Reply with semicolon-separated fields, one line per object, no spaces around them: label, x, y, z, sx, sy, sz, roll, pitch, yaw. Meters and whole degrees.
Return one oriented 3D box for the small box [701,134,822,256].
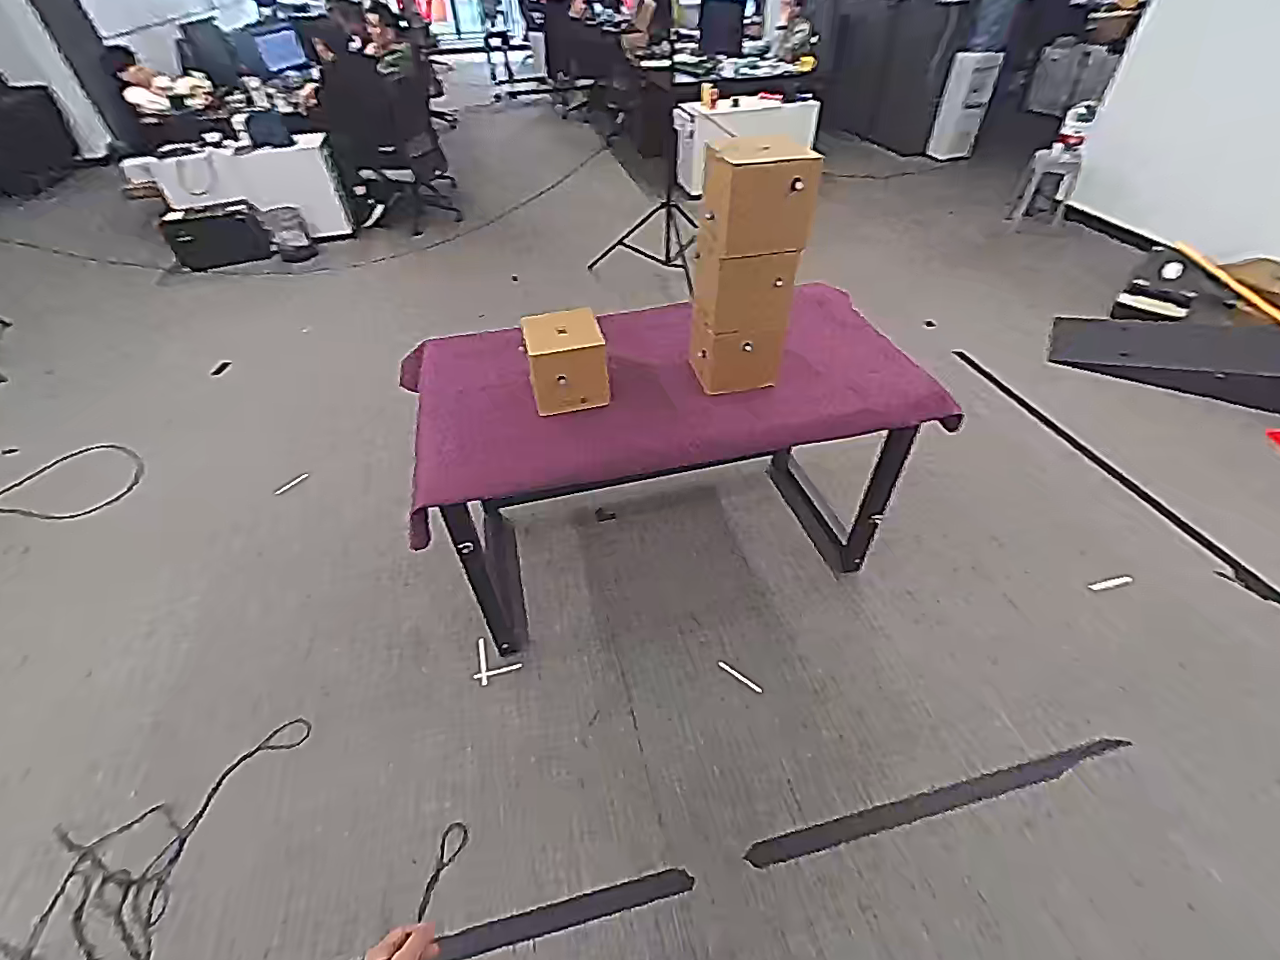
small box;0.228;-0.562;1.068;0.179;0.176;0.168;-11;45;-8

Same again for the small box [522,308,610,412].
small box;-0.171;-0.274;1.262;0.168;0.176;0.179;-12;45;-10

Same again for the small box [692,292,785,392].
small box;0.228;-0.328;1.301;0.179;0.176;0.168;-10;46;-8
